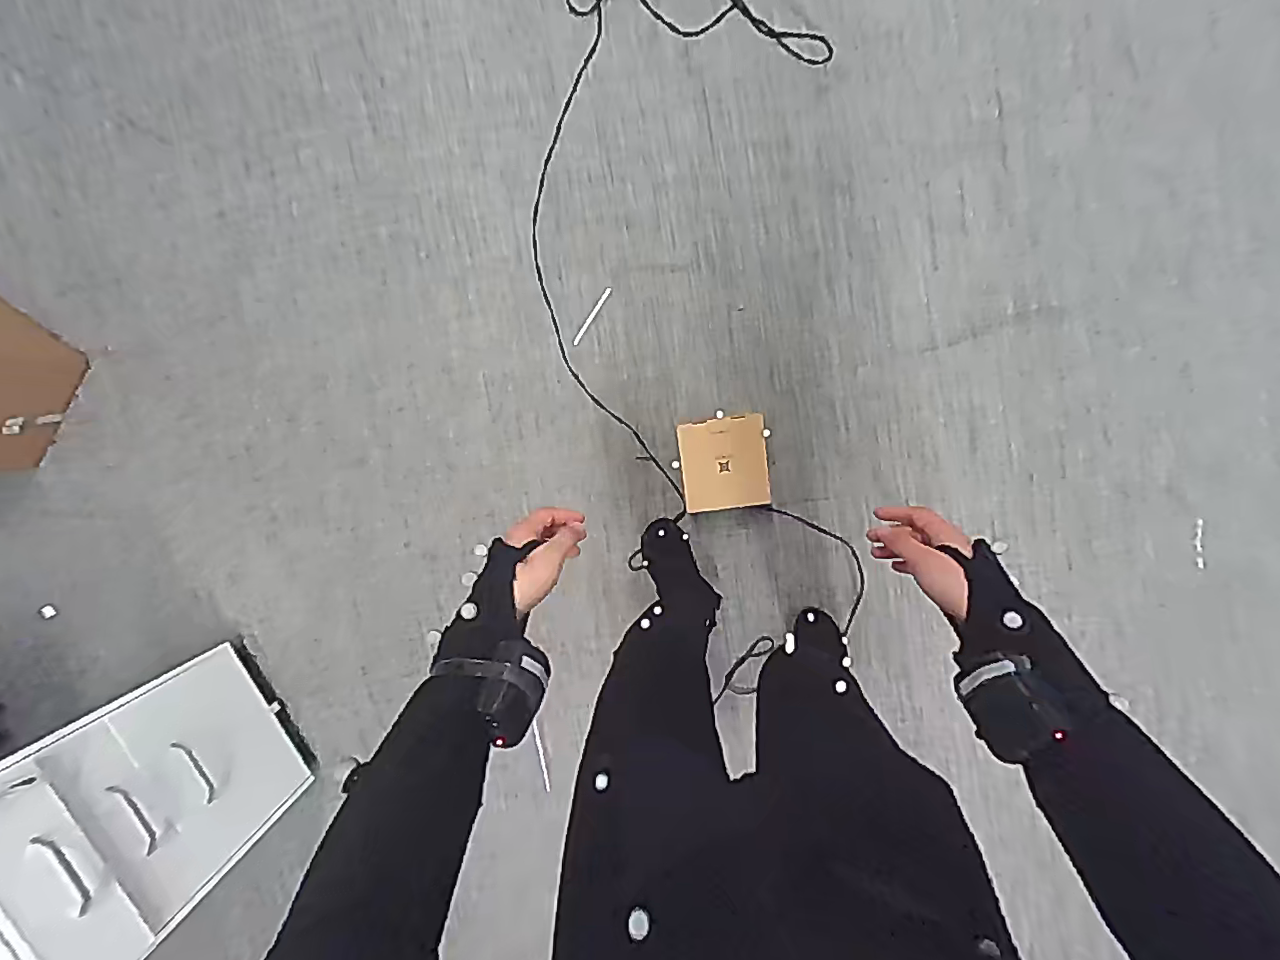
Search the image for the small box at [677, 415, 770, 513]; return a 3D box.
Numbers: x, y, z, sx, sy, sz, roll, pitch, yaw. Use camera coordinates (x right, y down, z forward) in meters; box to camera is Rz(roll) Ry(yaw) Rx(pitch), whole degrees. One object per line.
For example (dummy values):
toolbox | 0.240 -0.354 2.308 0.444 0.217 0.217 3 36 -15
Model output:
small box | 0.168 -0.039 1.120 0.168 0.176 0.179 -7 96 4
